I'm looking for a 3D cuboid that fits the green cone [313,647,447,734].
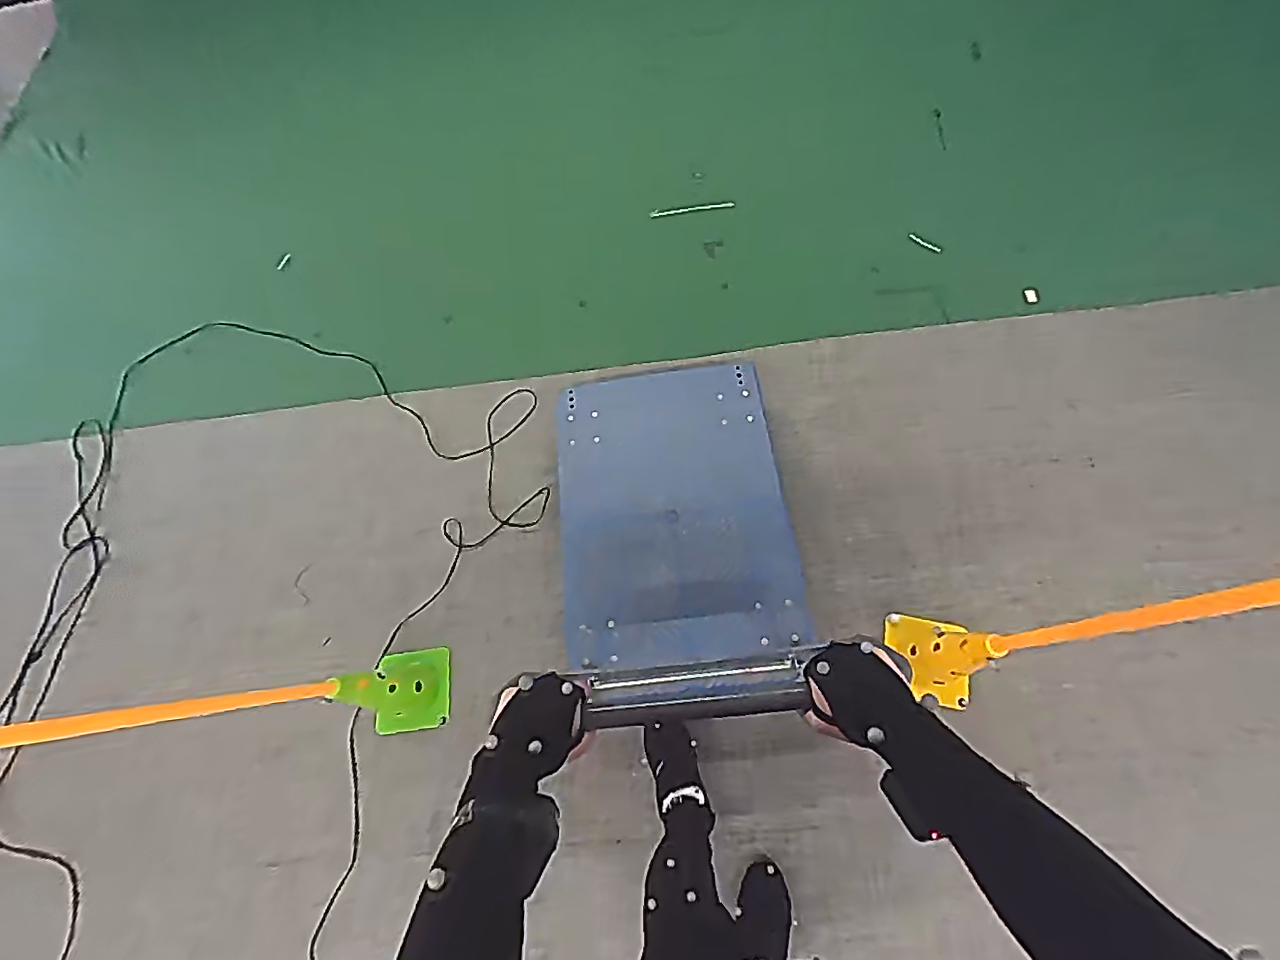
[{"bbox_3d":[-0.636,0.498,1.294,0.202,0.368,0.200,-11,67,4],"label":"green cone"}]
